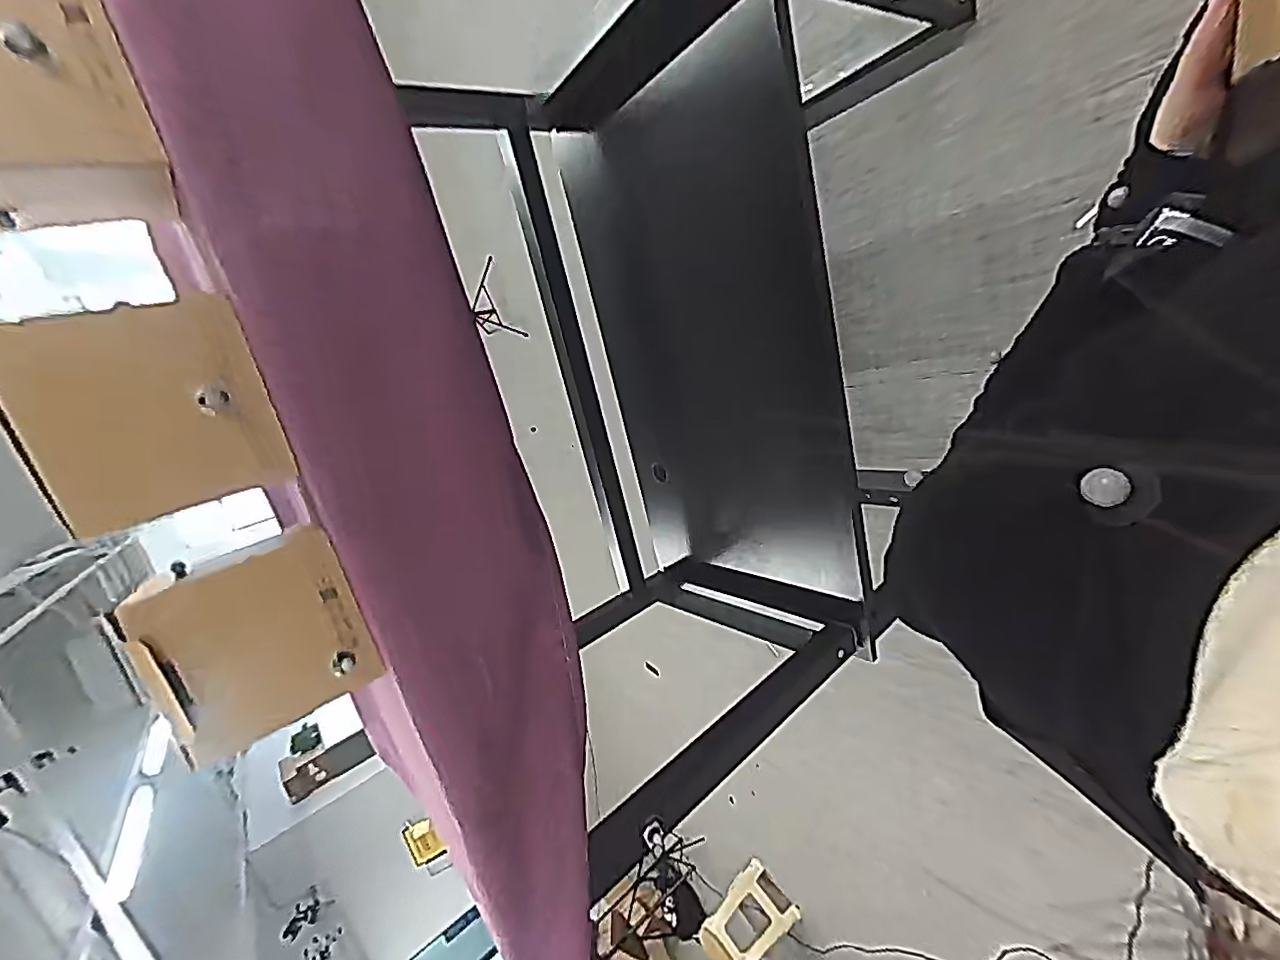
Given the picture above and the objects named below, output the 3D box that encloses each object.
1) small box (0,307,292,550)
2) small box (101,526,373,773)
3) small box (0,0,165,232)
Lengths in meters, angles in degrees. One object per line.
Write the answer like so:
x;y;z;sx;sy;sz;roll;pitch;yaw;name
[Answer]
-0.461;-0.060;0.512;0.168;0.176;0.179;11;118;52;small box
-0.407;0.158;0.574;0.179;0.176;0.168;0;110;55;small box
-0.530;-0.312;0.446;0.179;0.176;0.168;10;119;52;small box
